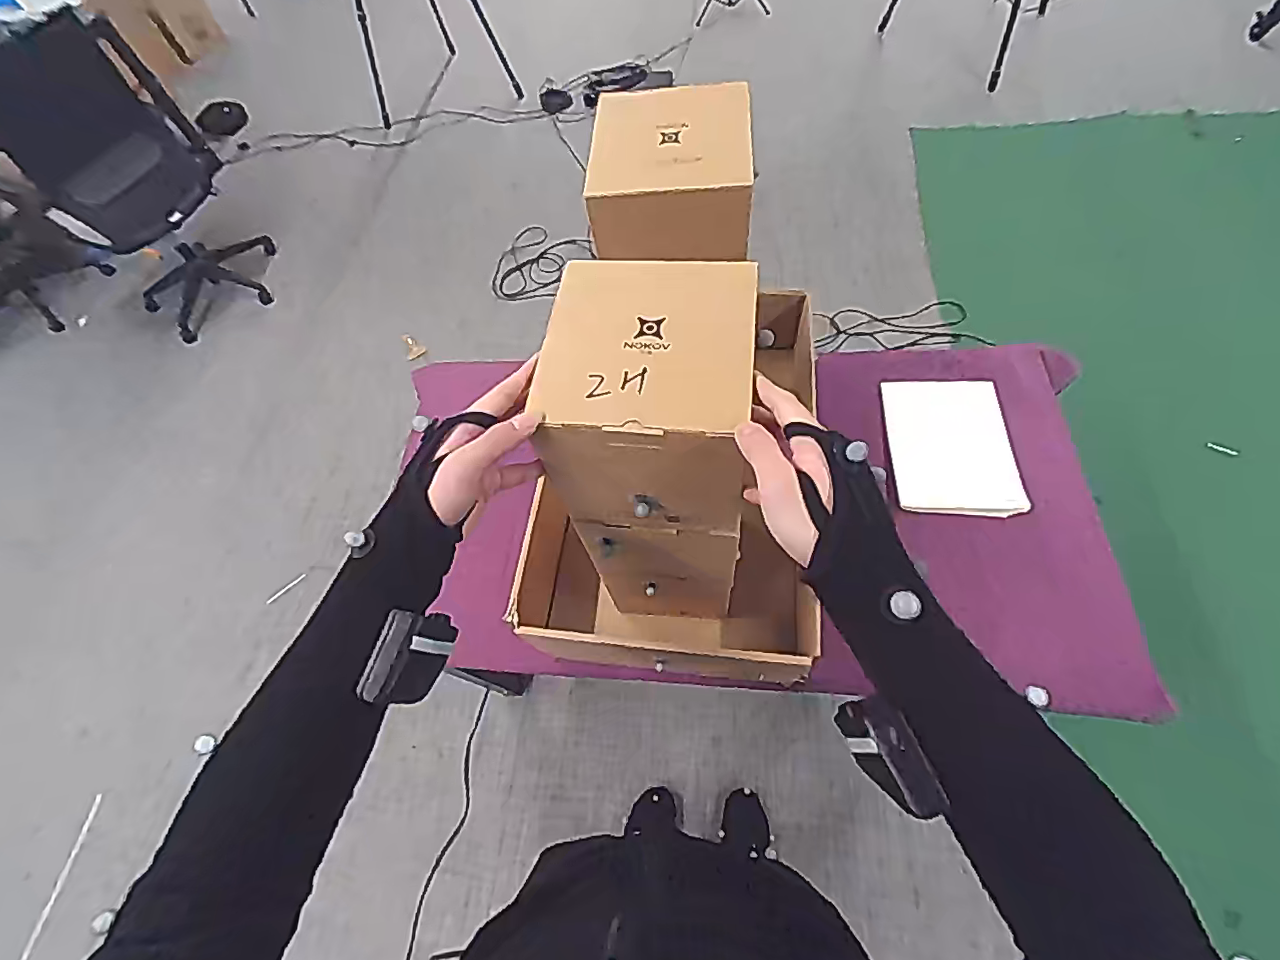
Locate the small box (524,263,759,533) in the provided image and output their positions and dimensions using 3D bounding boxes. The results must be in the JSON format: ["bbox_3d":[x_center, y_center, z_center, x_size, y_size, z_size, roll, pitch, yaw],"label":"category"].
[{"bbox_3d":[0.014,-0.070,0.494,0.168,0.176,0.179,4,62,10],"label":"small box"}]

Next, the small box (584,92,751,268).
[{"bbox_3d":[0.038,-0.311,0.630,0.168,0.176,0.179,1,63,7],"label":"small box"}]
